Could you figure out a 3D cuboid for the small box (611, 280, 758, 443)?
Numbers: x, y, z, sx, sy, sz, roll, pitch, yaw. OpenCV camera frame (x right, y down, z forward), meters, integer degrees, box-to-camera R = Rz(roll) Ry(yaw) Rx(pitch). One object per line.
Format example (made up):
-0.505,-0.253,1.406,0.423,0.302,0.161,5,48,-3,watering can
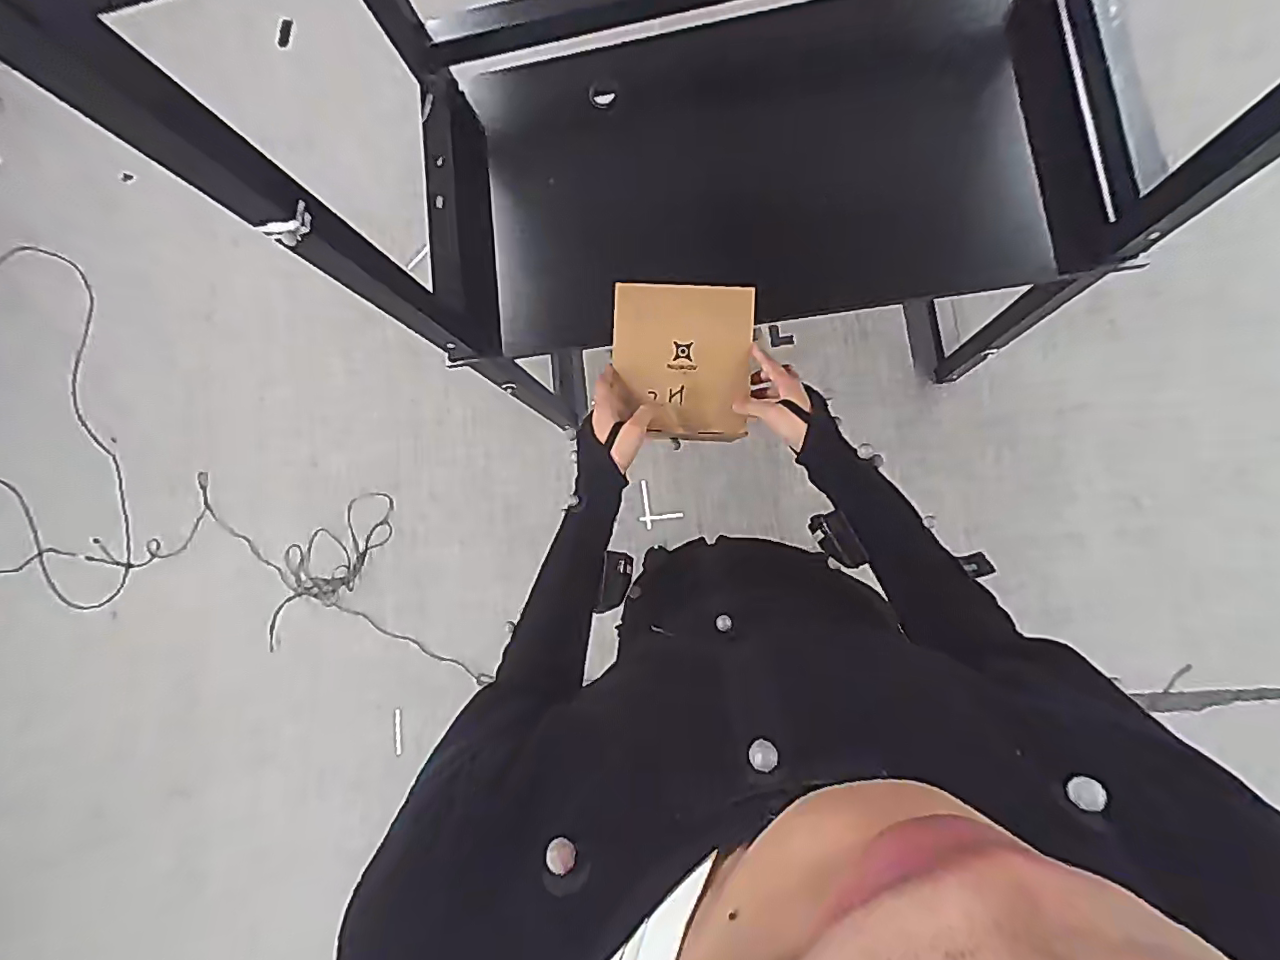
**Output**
0.054,-0.144,0.712,0.168,0.176,0.179,3,91,3,small box
